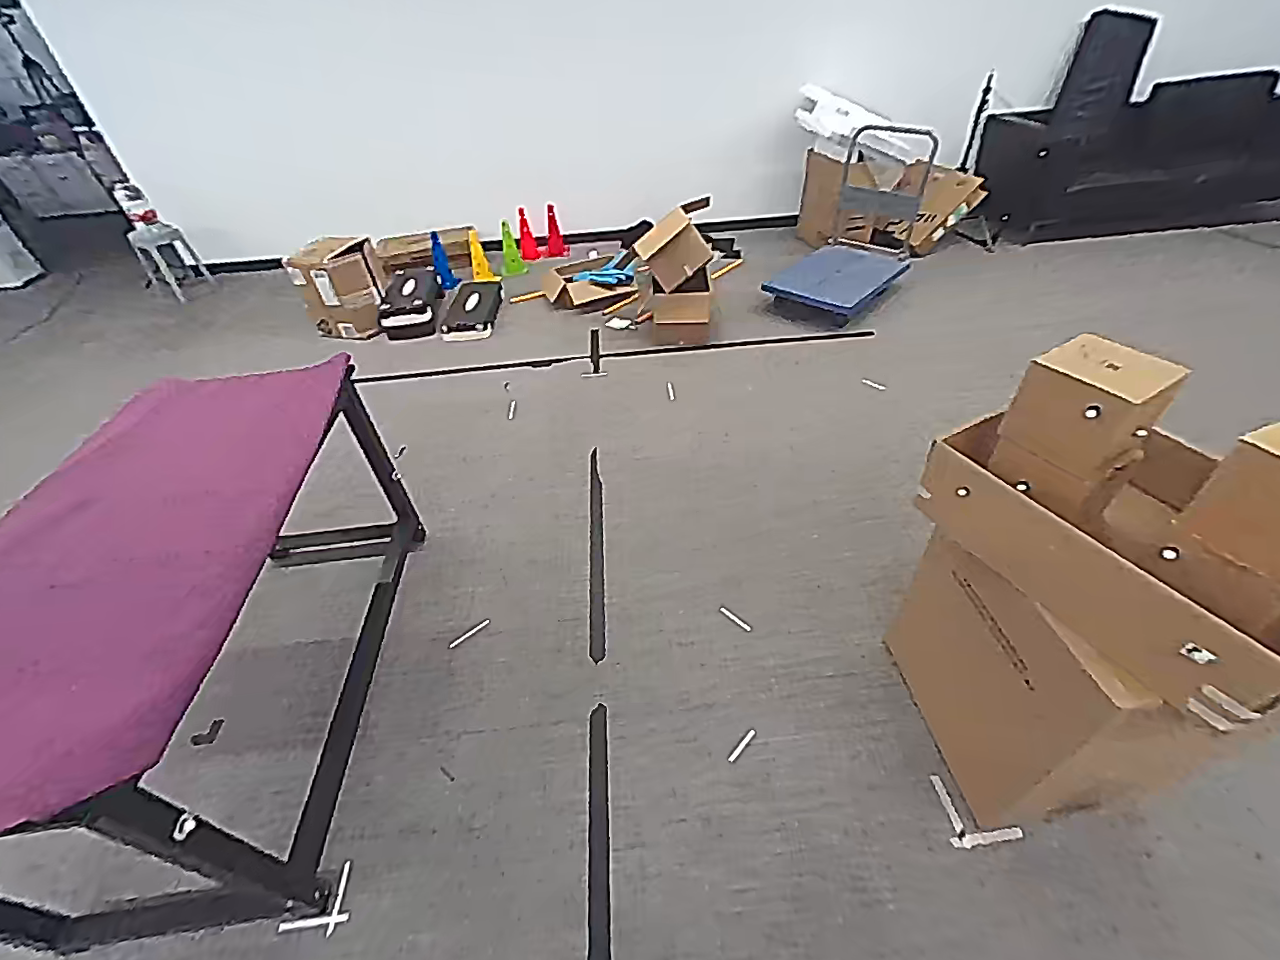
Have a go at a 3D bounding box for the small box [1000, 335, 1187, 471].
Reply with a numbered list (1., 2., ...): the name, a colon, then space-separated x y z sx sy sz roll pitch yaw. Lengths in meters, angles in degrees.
1. small box: 0.816 -0.137 0.992 0.168 0.176 0.179 -24 45 -19

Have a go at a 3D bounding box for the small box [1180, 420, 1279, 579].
1. small box: 0.973 0.027 0.791 0.168 0.176 0.179 -17 42 -13
